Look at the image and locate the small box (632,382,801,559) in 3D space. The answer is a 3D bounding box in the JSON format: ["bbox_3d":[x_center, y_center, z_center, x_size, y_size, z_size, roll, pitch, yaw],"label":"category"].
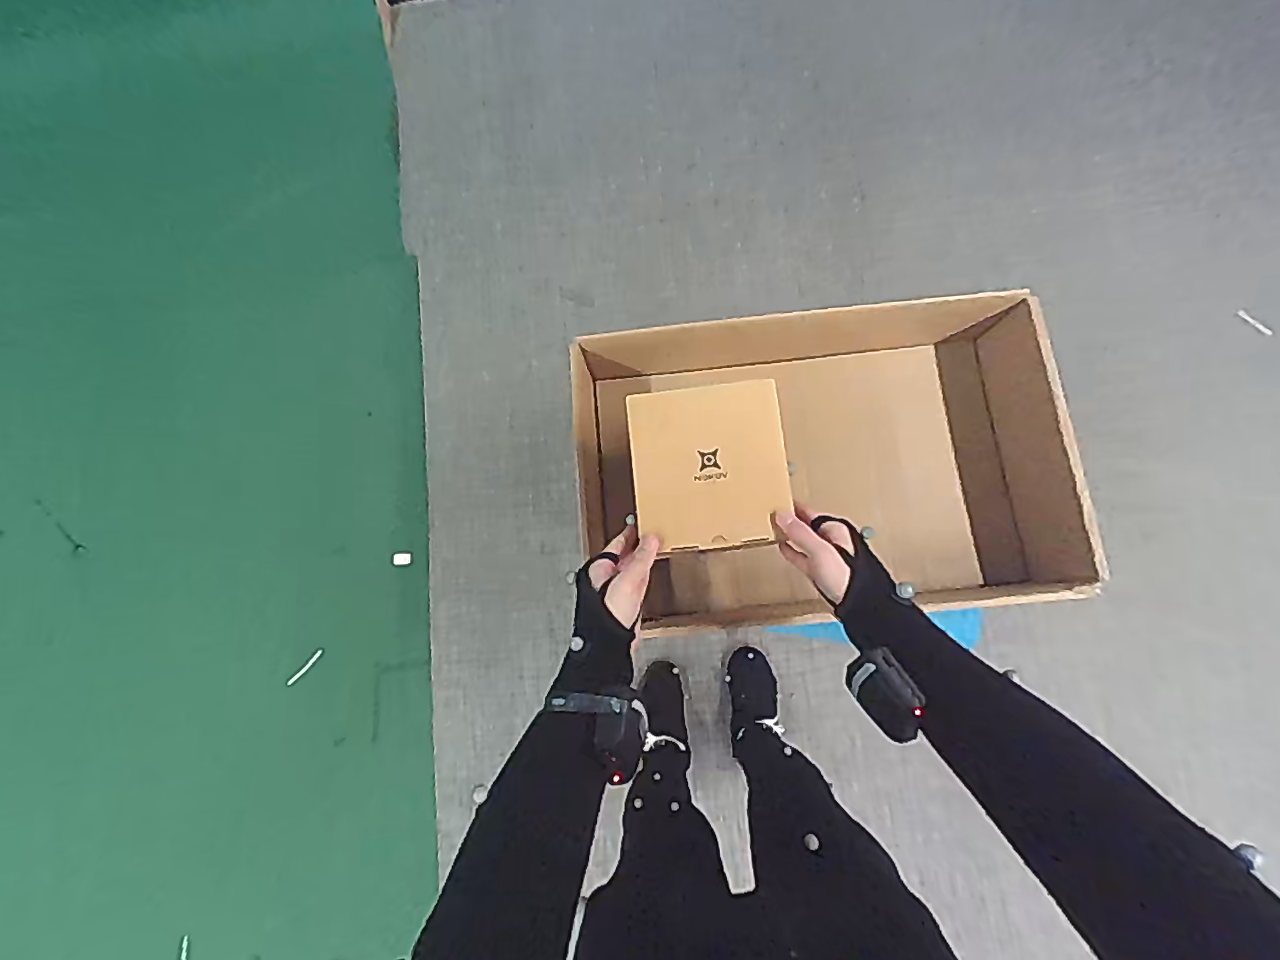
[{"bbox_3d":[0.082,-0.001,0.654,0.168,0.176,0.179,-7,81,3],"label":"small box"}]
